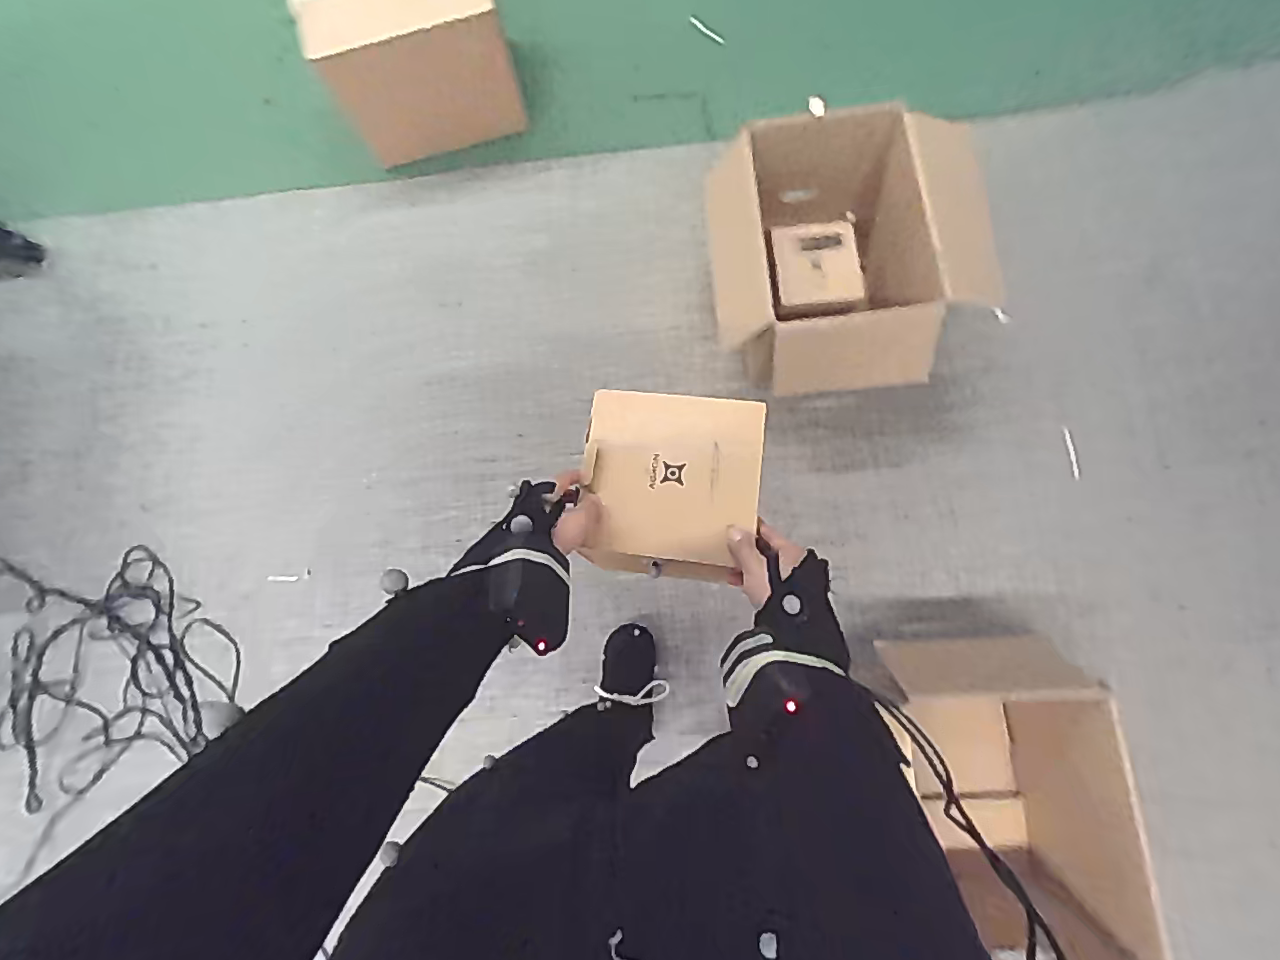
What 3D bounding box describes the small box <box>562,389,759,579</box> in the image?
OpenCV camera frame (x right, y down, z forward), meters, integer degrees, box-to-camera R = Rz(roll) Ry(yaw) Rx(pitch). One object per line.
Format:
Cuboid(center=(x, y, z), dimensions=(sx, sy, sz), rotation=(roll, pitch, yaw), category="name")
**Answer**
Cuboid(center=(0.030, 0.013, 0.593), dimensions=(0.179, 0.176, 0.168), rotation=(5, 76, 7), category="small box")
